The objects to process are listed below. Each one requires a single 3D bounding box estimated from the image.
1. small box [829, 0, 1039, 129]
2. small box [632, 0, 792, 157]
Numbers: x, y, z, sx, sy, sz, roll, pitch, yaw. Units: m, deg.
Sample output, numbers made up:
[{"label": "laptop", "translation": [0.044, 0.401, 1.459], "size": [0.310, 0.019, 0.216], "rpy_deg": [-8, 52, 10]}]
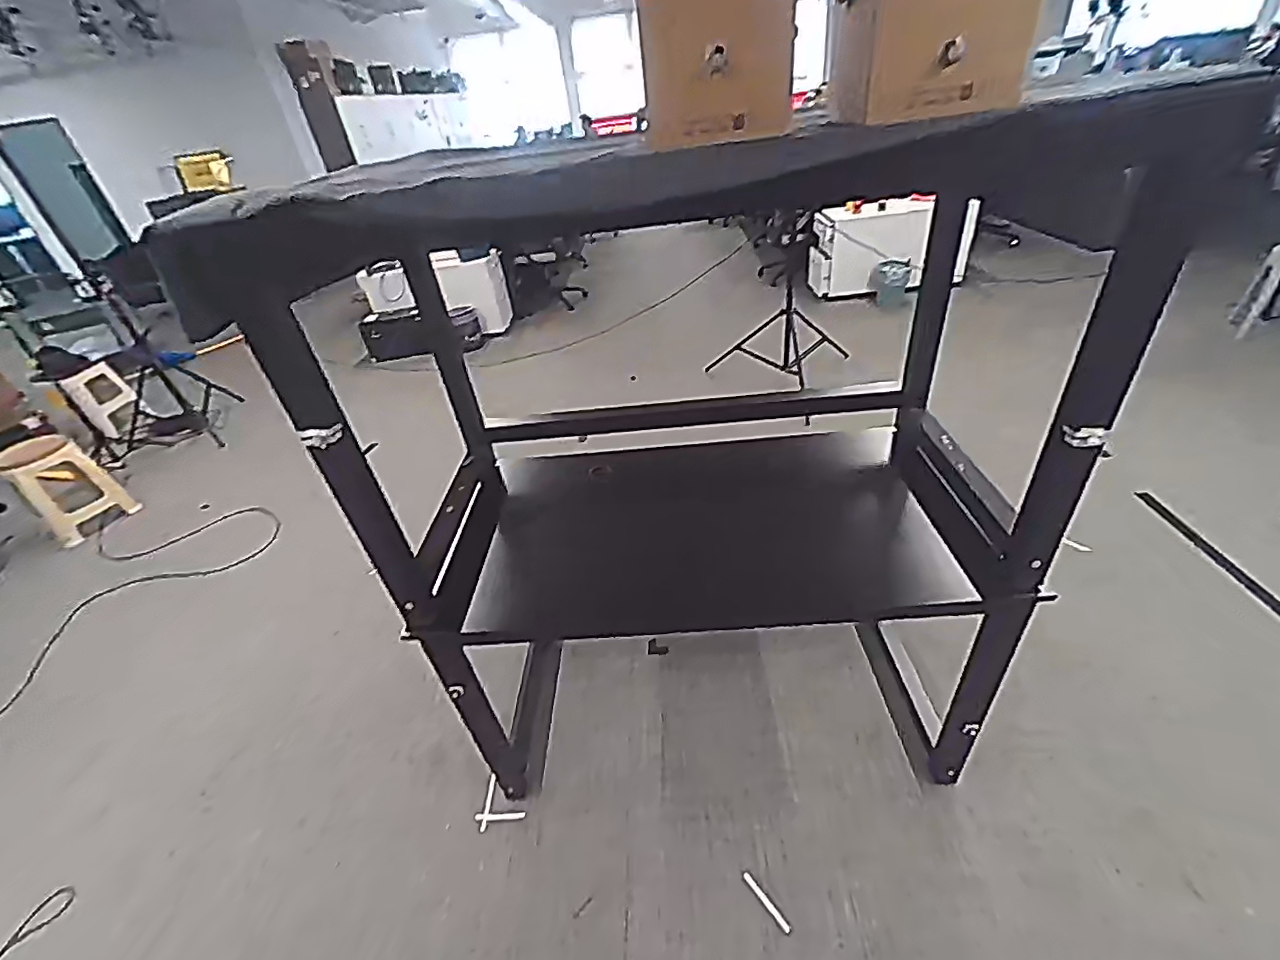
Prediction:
[{"label": "small box", "translation": [0.322, -0.511, 0.619], "size": [0.168, 0.176, 0.179], "rpy_deg": [-5, 35, 6]}, {"label": "small box", "translation": [0.087, -0.493, 0.643], "size": [0.168, 0.176, 0.179], "rpy_deg": [-3, 35, 7]}]
